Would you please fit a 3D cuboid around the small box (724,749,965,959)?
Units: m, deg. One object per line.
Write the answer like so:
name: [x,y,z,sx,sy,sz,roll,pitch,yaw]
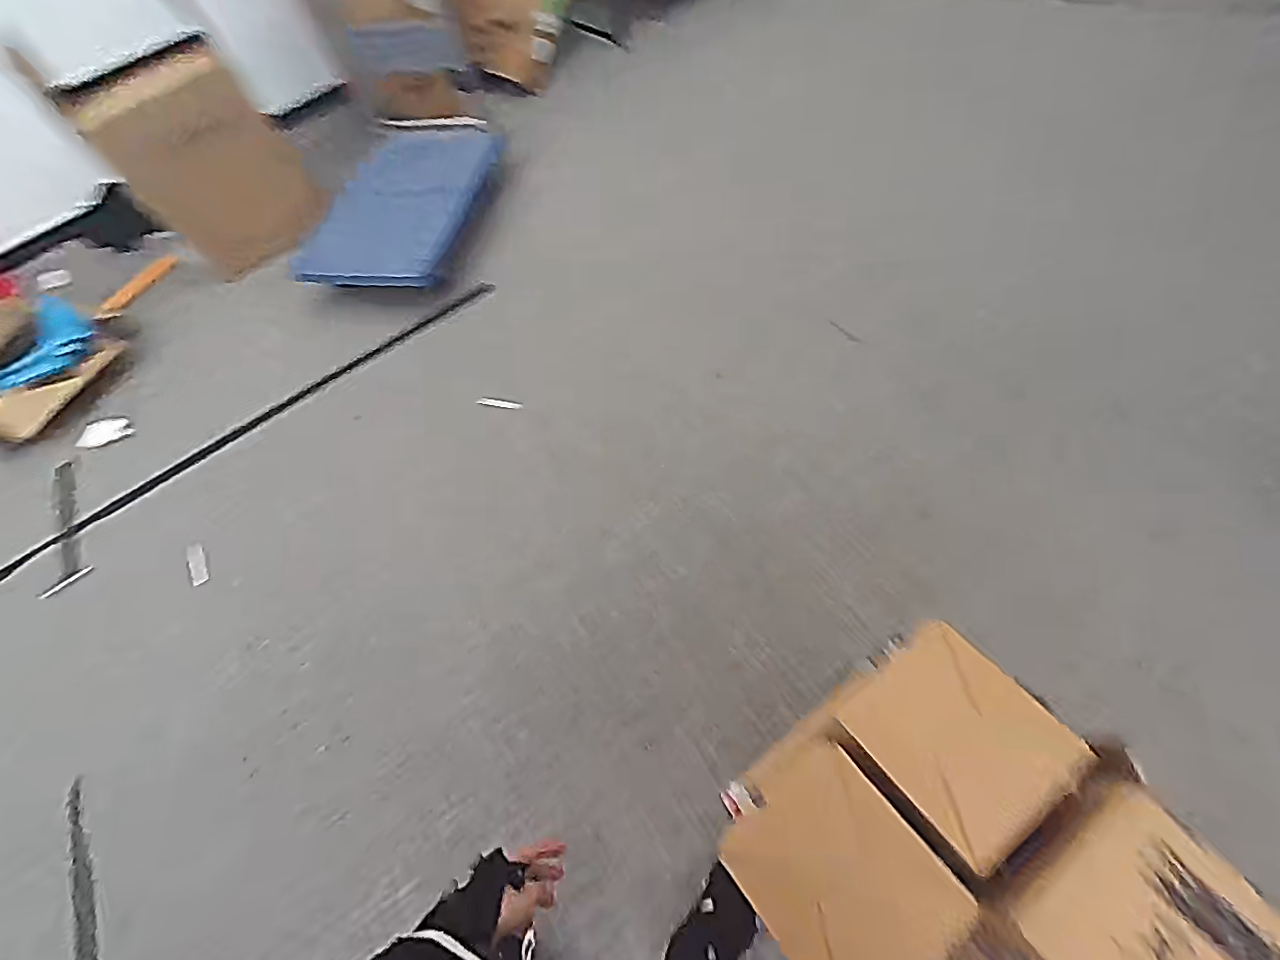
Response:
small box: [0.207,0.421,0.589,0.168,0.176,0.179,-38,61,-7]
